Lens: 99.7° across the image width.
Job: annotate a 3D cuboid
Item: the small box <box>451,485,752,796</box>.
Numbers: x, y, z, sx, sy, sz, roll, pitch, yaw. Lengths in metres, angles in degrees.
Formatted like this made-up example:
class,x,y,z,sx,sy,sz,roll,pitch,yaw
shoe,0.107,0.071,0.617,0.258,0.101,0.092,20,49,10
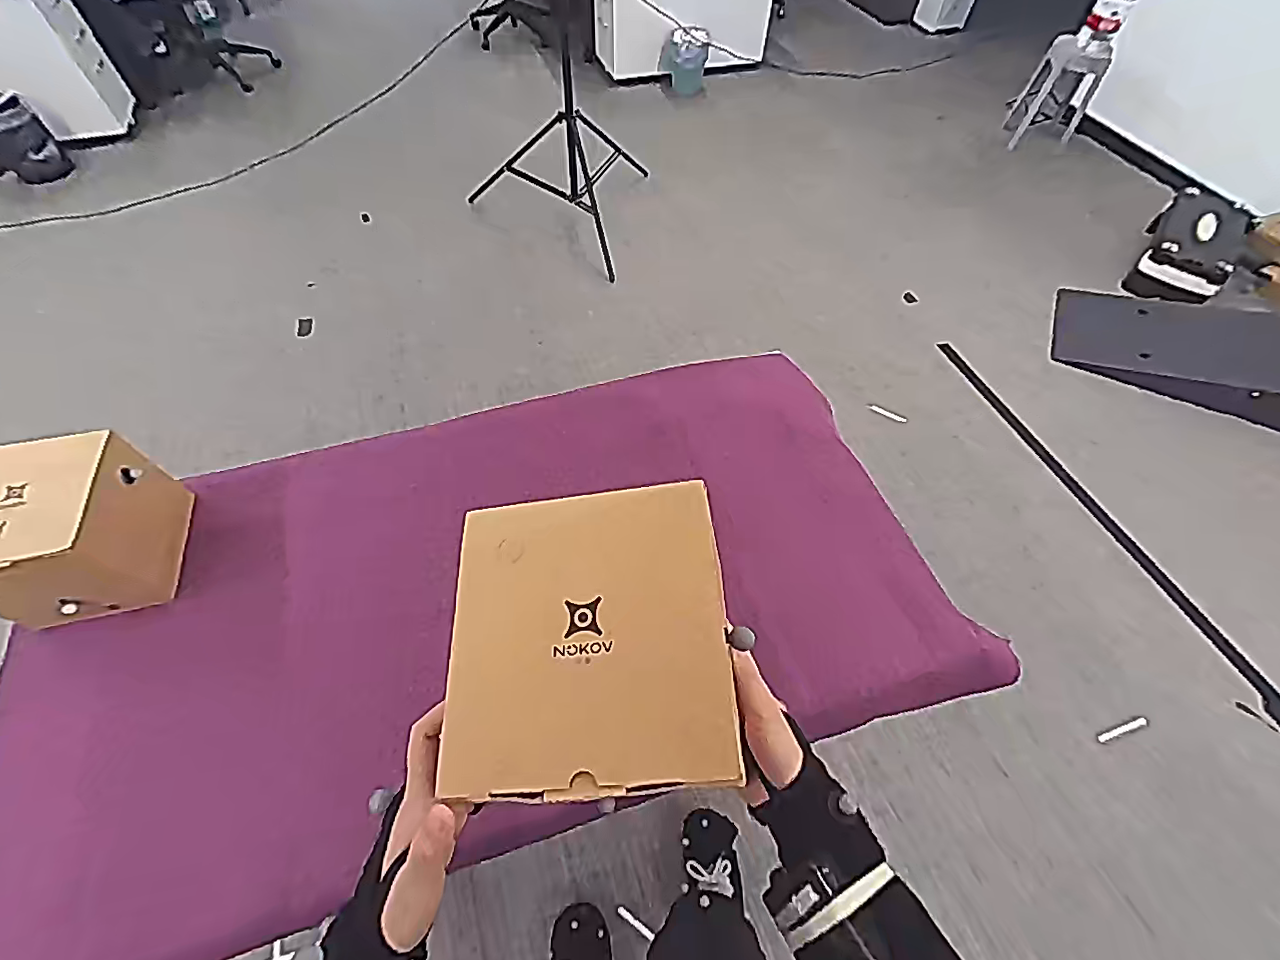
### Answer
class,x,y,z,sx,sy,sz,roll,pitch,yaw
small box,-0.016,0.125,0.396,0.168,0.176,0.179,-8,61,6

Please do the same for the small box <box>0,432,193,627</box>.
class,x,y,z,sx,sy,sz,roll,pitch,yaw
small box,-0.725,0.067,0.695,0.168,0.176,0.179,-11,60,-9
